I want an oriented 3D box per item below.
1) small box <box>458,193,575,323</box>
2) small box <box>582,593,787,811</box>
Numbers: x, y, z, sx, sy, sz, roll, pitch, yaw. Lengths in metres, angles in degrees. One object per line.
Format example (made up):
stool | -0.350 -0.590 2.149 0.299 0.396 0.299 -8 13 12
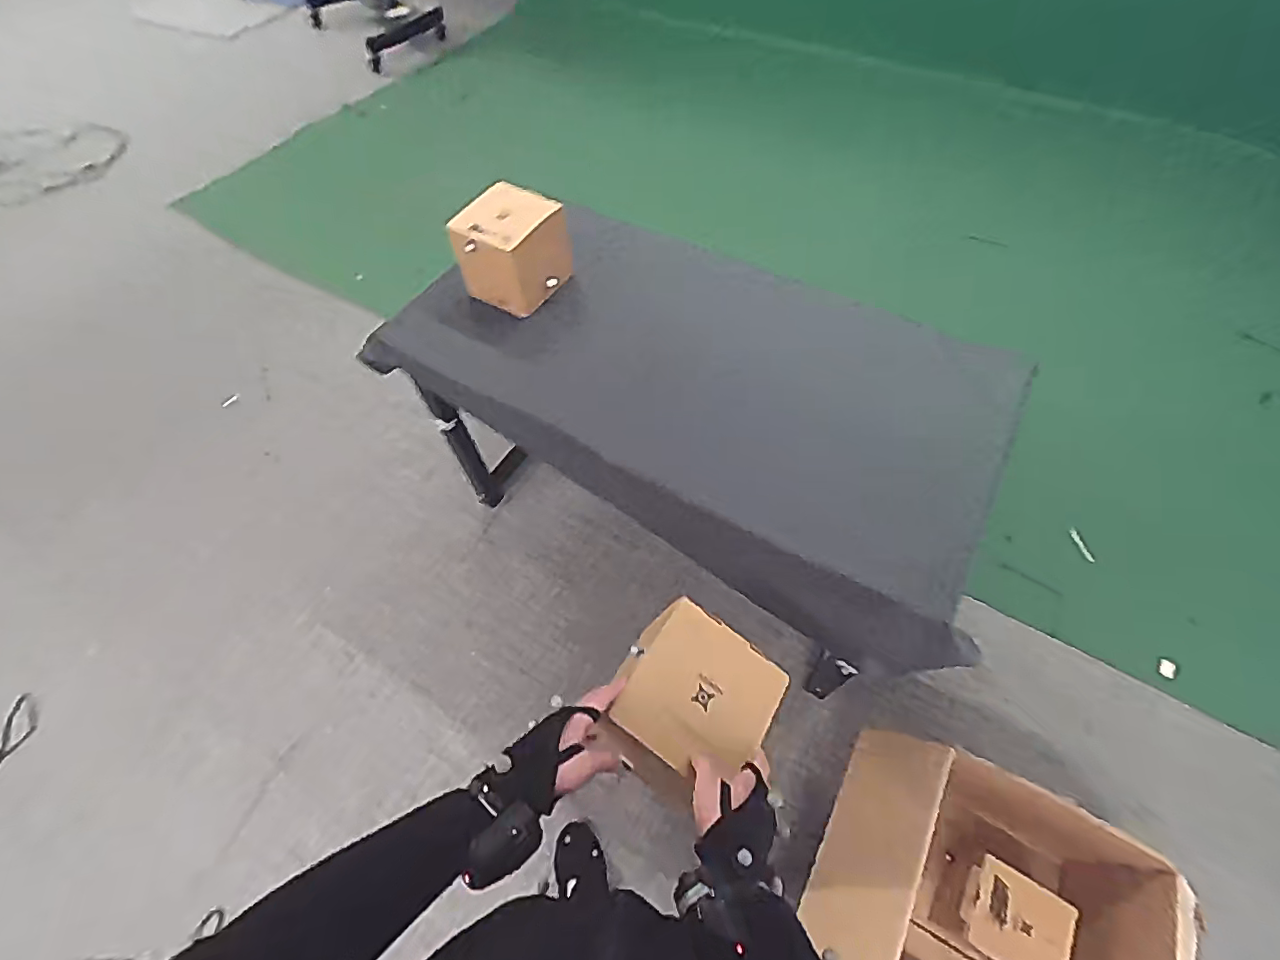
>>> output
small box | -0.254 -0.476 1.166 0.168 0.176 0.179 28 62 17
small box | 0.047 0.278 0.676 0.168 0.176 0.179 36 56 5
